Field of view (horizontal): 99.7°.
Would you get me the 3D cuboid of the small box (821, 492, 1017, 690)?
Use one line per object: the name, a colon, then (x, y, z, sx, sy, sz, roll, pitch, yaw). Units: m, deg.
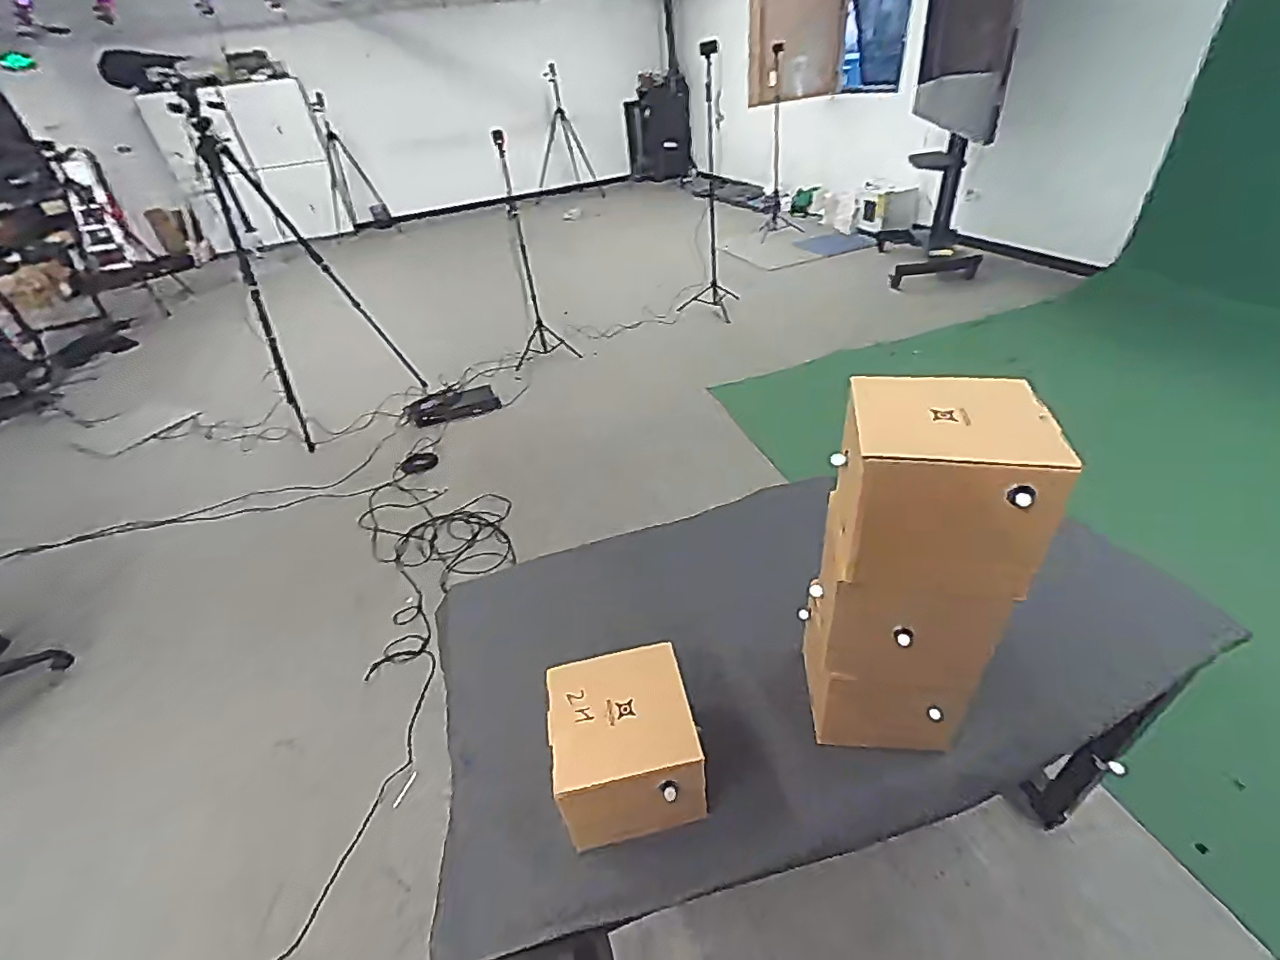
small box: (0.323, 0.135, 0.668, 0.179, 0.176, 0.168, 3, 38, 16)

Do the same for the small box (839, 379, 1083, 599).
small box: (0.308, 0.006, 0.570, 0.179, 0.176, 0.168, 4, 37, 15)

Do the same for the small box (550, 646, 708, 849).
small box: (-0.014, 0.352, 0.717, 0.179, 0.176, 0.168, -12, 38, -5)
